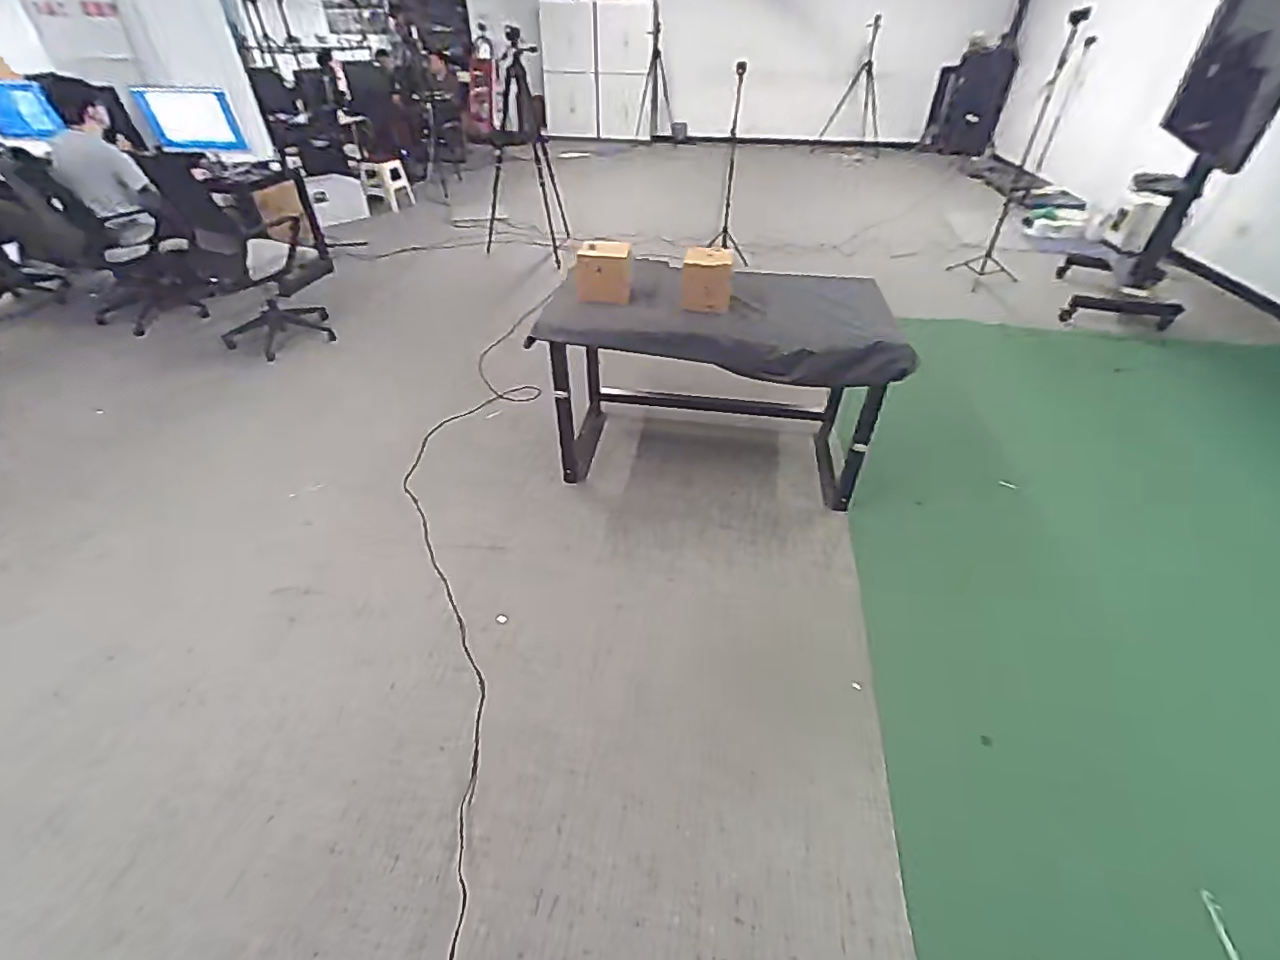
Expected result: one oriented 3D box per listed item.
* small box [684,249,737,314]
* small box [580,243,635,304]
[{"bbox_3d":[0.249,-0.704,1.918,0.168,0.176,0.179,7,41,8],"label":"small box"},{"bbox_3d":[-0.115,-0.751,1.969,0.179,0.176,0.168,5,40,4],"label":"small box"}]
